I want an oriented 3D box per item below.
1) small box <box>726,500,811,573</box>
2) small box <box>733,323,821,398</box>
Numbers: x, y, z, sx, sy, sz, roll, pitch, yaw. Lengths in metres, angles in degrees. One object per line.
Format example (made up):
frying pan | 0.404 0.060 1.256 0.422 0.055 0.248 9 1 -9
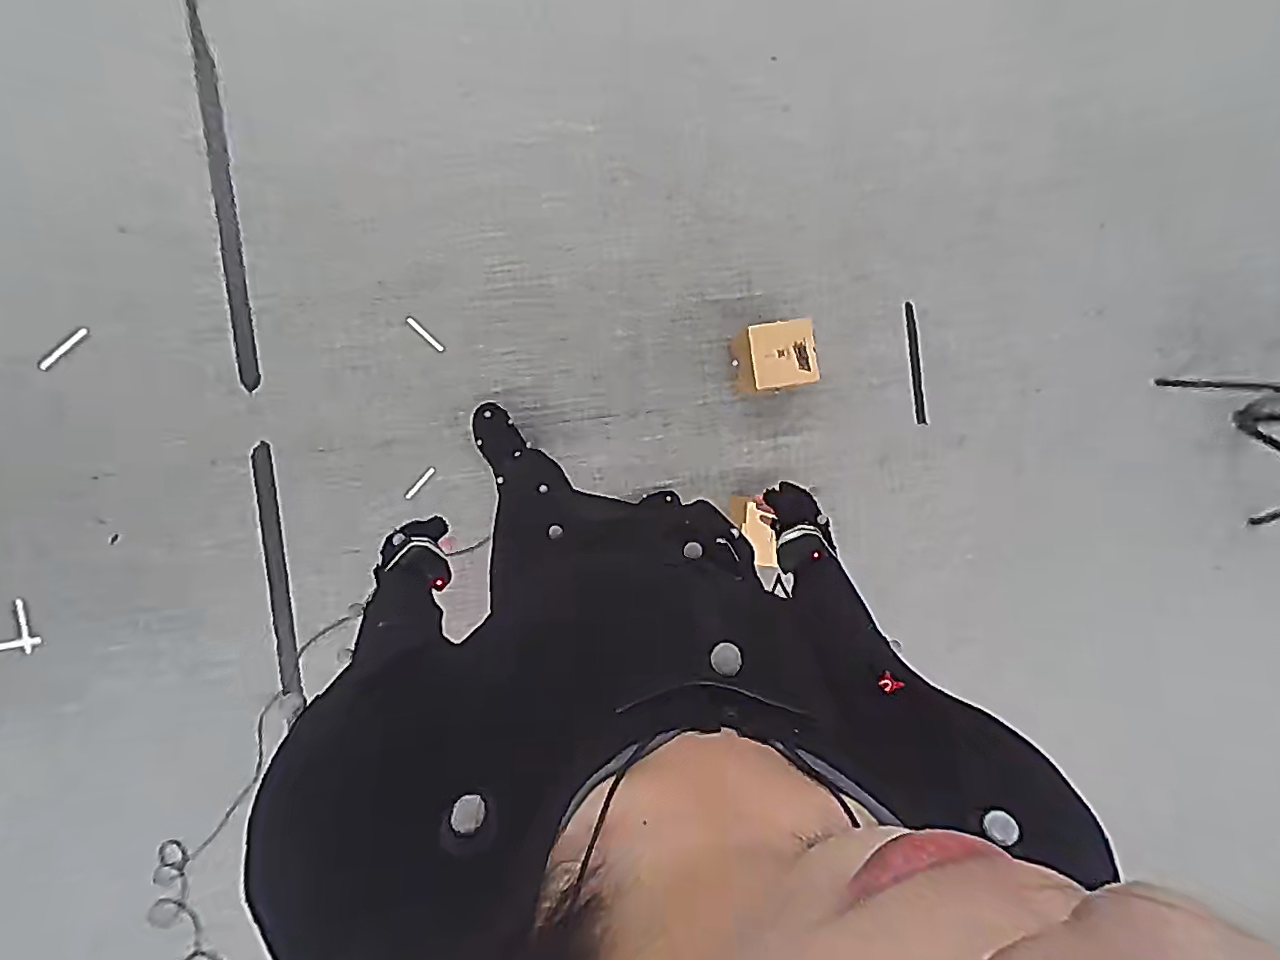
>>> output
small box | 0.345 0.149 1.484 0.179 0.176 0.168 8 92 -6
small box | 0.366 -0.319 1.466 0.179 0.176 0.168 -8 93 -5
